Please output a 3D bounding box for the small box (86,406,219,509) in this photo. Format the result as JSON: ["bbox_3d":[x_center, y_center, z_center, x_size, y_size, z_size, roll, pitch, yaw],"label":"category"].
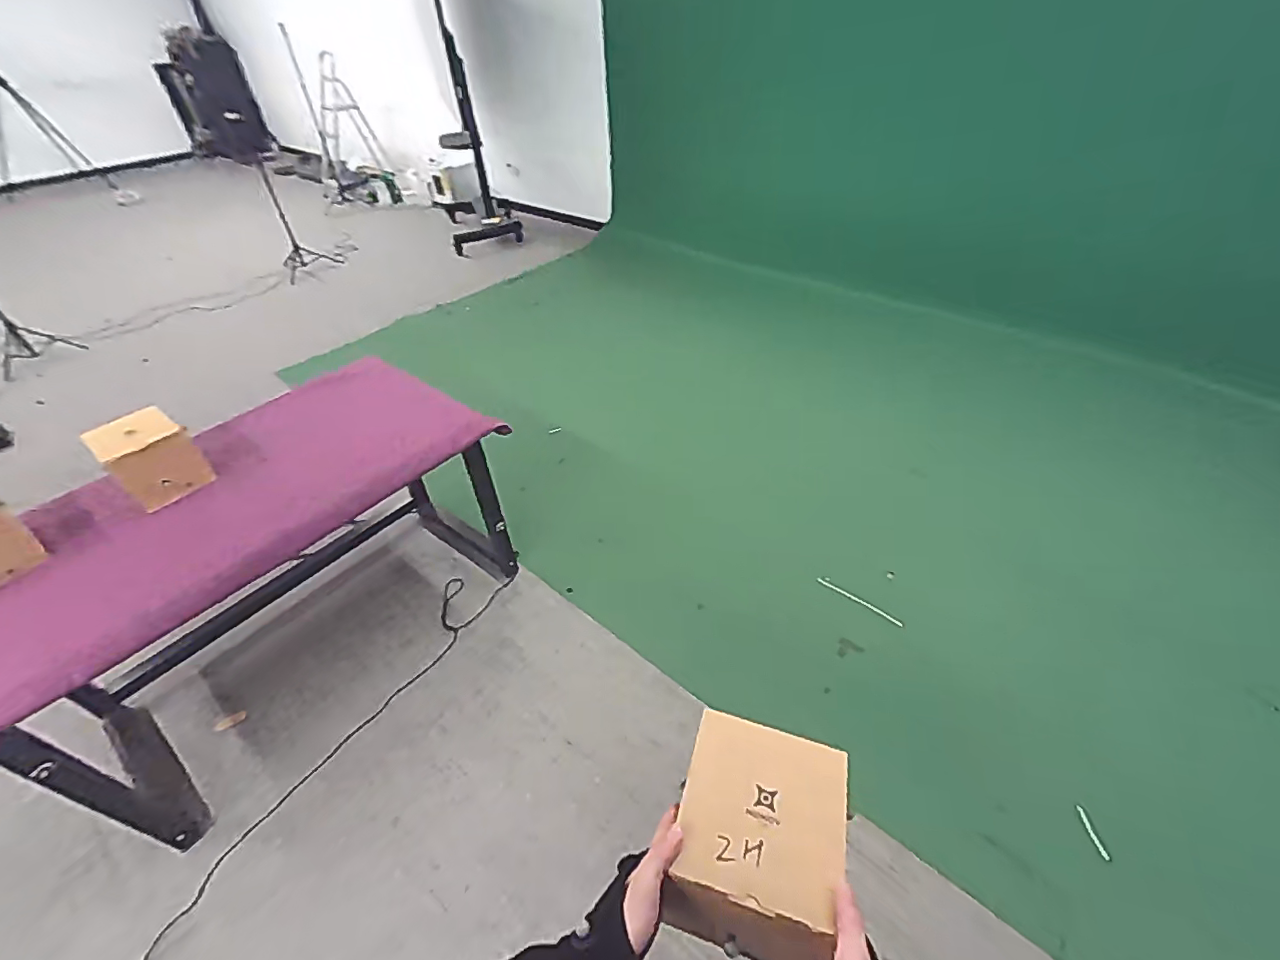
[{"bbox_3d":[-1.221,-0.056,1.365,0.179,0.176,0.168,27,50,27],"label":"small box"}]

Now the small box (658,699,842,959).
[{"bbox_3d":[0.119,0.387,0.604,0.168,0.176,0.179,12,40,13],"label":"small box"}]
